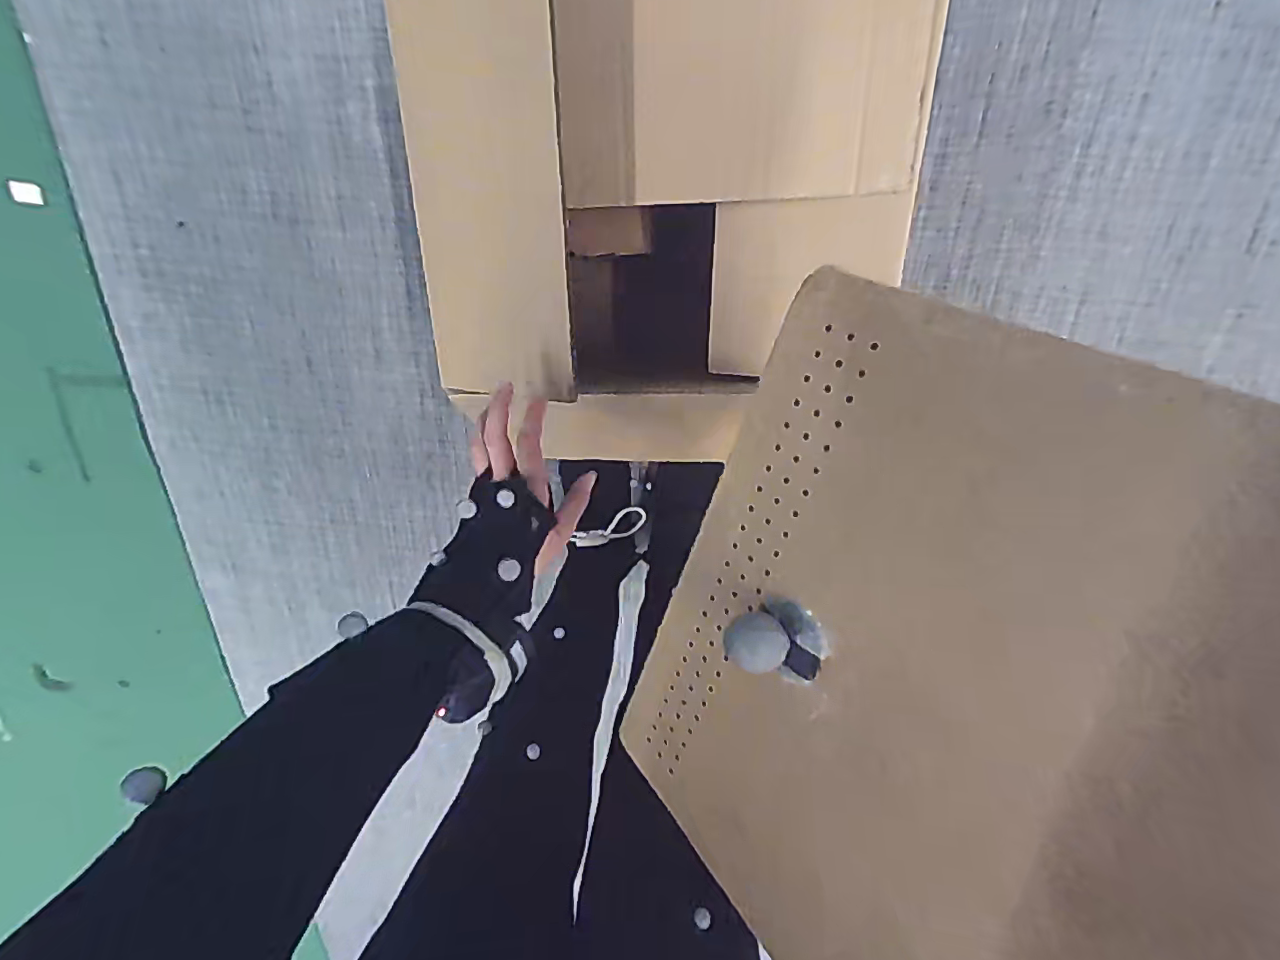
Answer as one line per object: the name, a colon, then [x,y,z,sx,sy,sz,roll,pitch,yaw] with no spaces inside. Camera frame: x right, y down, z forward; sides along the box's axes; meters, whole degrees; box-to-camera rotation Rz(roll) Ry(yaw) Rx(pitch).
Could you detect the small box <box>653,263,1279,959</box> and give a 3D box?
small box: [0.127,0.053,0.173,0.168,0.176,0.179,-4,123,-40]
